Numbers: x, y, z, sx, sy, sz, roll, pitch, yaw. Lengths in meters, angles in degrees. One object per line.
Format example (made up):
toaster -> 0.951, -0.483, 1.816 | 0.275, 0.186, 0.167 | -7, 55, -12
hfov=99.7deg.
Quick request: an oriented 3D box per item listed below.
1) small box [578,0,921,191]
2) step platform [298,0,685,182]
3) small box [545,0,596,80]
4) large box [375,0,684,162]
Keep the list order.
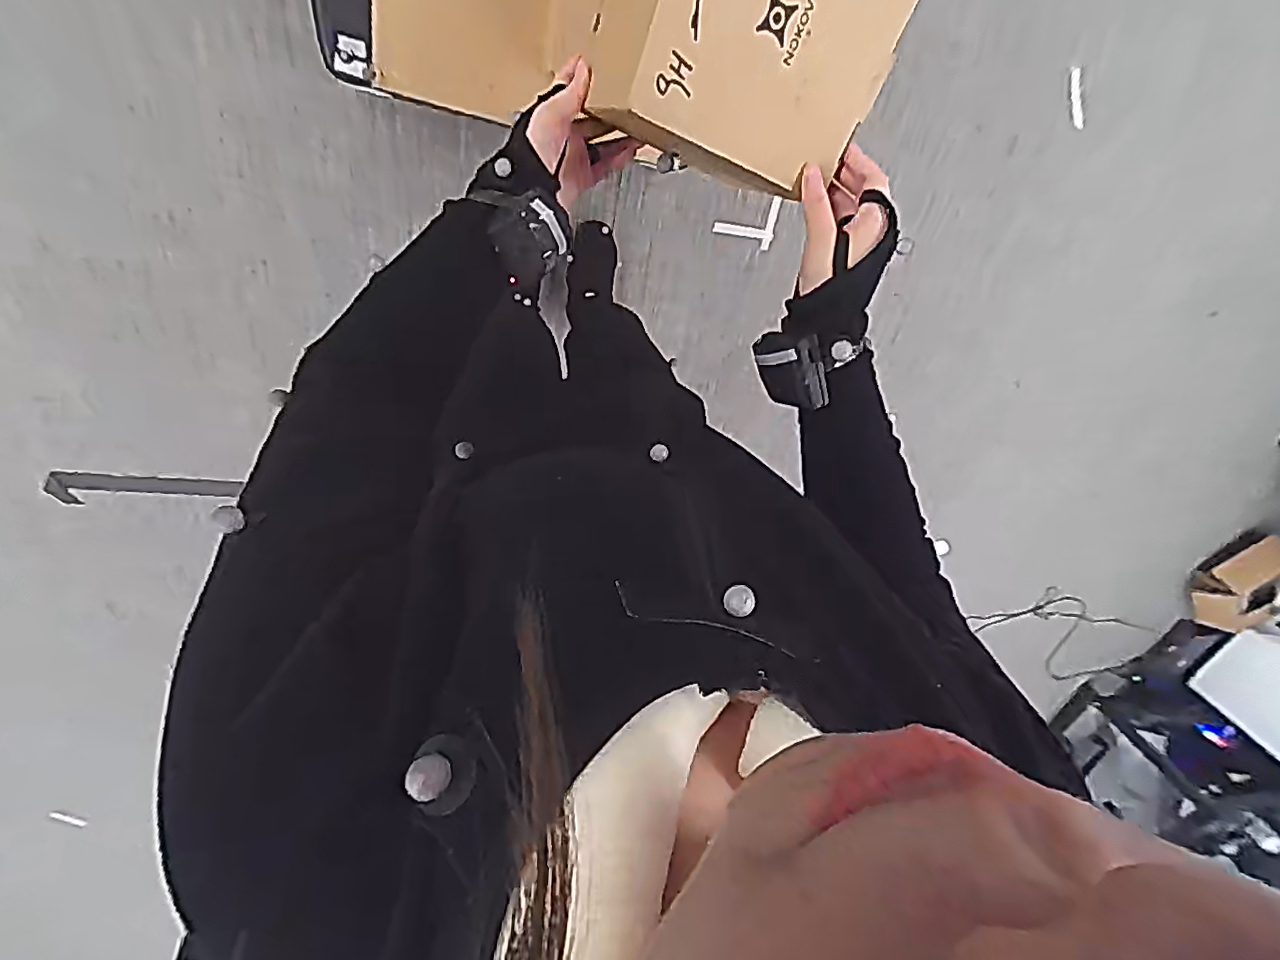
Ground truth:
small box -> 0.073, -0.344, 0.405 | 0.179, 0.176, 0.168 | 9, 118, -27
step platform -> -0.206, -0.784, 0.953 | 0.684, 0.204, 0.286 | 10, 120, -19
small box -> -0.001, -0.521, 0.587 | 0.179, 0.176, 0.168 | 6, 122, -17
large box -> -0.124, -0.673, 0.756 | 0.408, 0.320, 0.320 | 6, 121, -16
